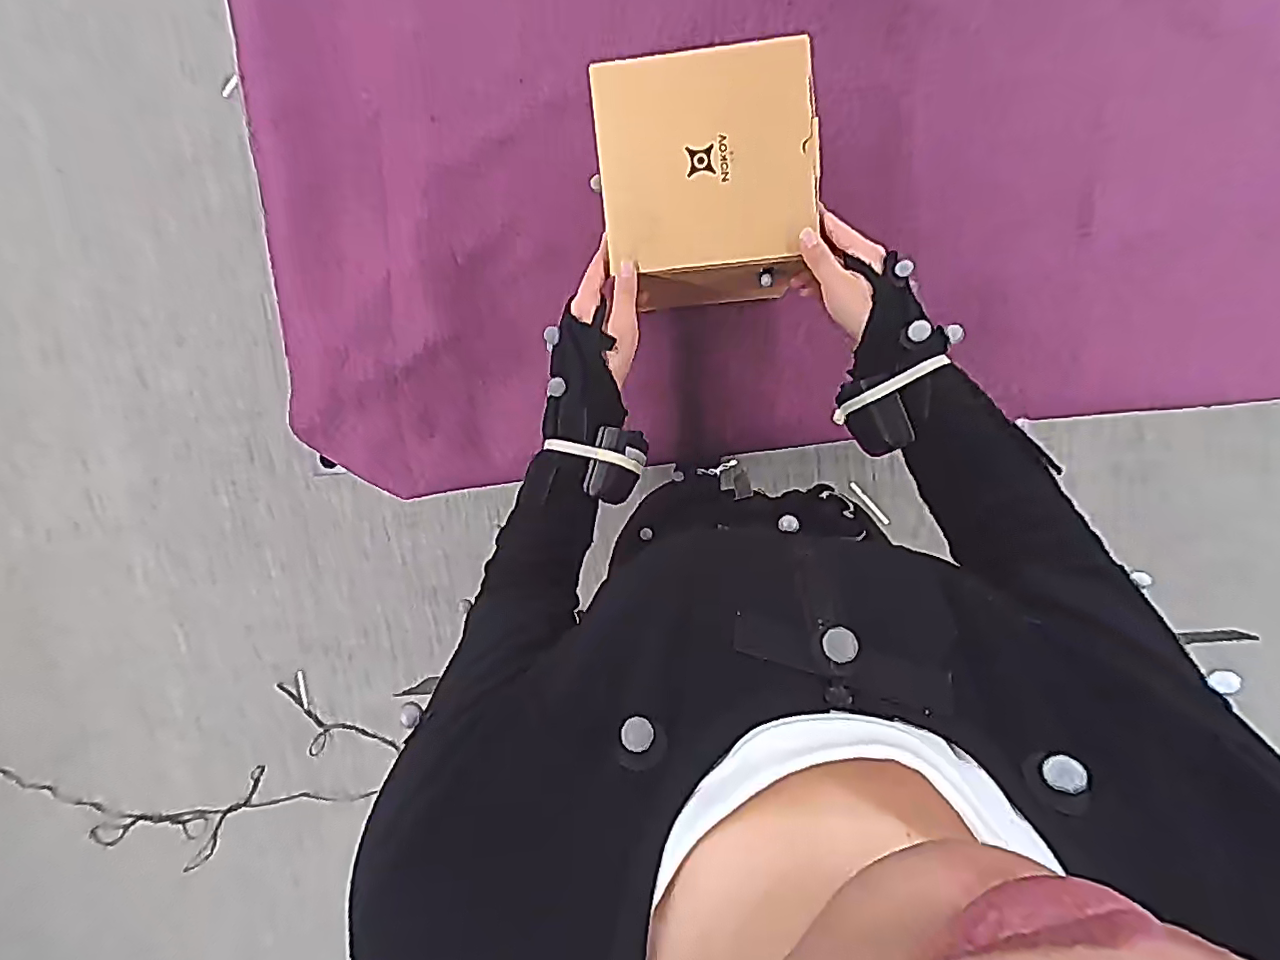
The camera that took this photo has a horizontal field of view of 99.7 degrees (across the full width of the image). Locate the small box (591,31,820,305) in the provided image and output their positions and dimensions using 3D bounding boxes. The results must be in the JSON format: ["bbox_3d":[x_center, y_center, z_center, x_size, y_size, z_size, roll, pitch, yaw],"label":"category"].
[{"bbox_3d":[0.057,-0.270,0.512,0.179,0.176,0.168,-5,97,3],"label":"small box"}]
